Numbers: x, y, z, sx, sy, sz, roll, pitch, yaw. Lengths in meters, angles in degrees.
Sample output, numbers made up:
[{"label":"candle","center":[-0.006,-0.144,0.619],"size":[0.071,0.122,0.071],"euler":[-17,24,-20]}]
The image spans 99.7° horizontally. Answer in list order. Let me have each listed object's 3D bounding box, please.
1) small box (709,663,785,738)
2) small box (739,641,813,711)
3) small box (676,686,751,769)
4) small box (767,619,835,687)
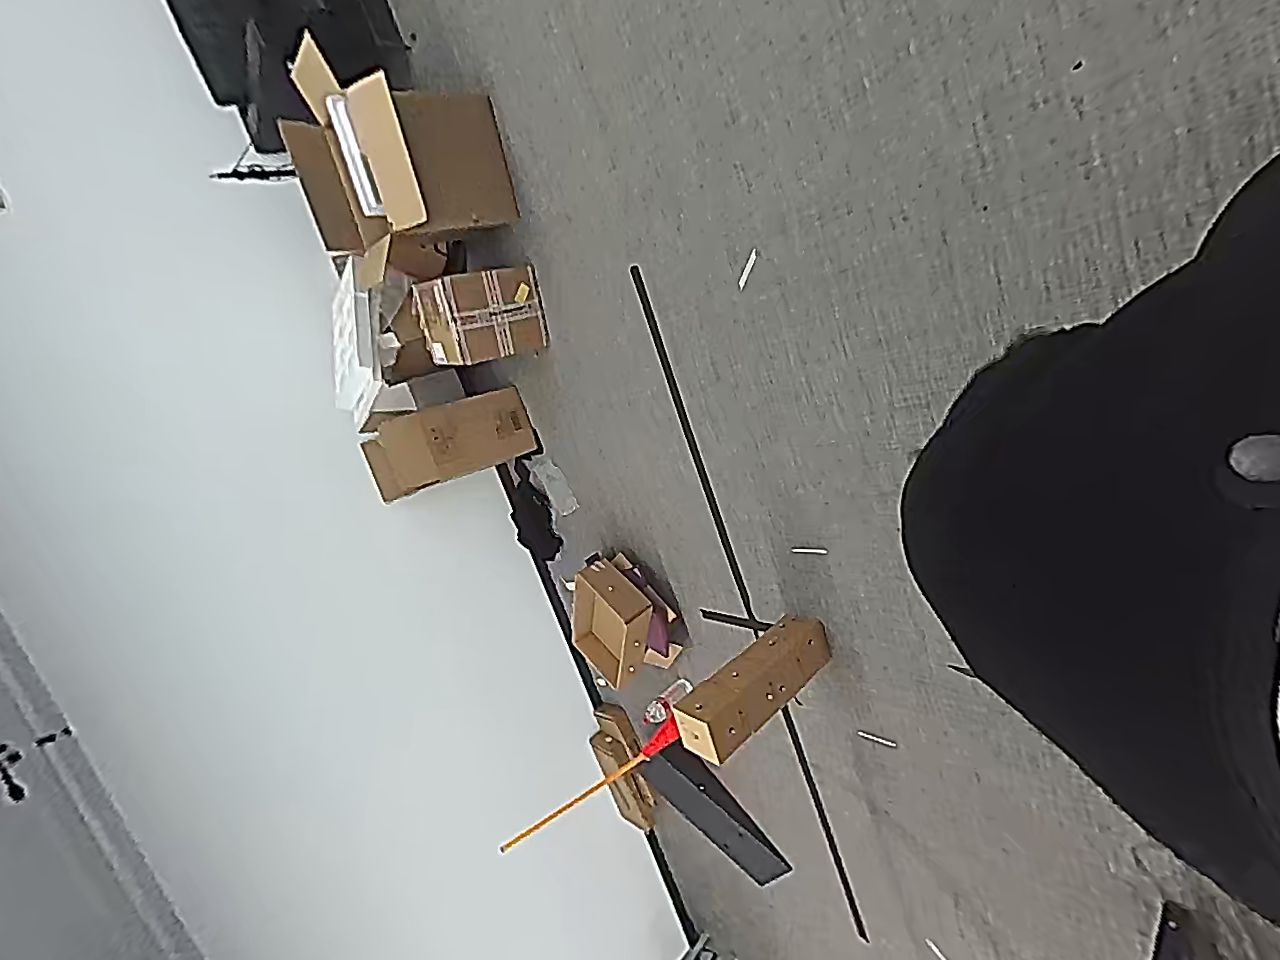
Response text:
[{"label":"small box","center":[0.380,0.771,1.915],"size":[0.179,0.176,0.168],"euler":[-10,102,54]},{"label":"small box","center":[0.506,0.719,2.008],"size":[0.179,0.176,0.168],"euler":[-9,103,56]},{"label":"small box","center":[0.254,0.824,1.823],"size":[0.179,0.176,0.168],"euler":[-2,108,54]},{"label":"small box","center":[0.629,0.664,2.102],"size":[0.168,0.176,0.179],"euler":[-7,106,55]}]
